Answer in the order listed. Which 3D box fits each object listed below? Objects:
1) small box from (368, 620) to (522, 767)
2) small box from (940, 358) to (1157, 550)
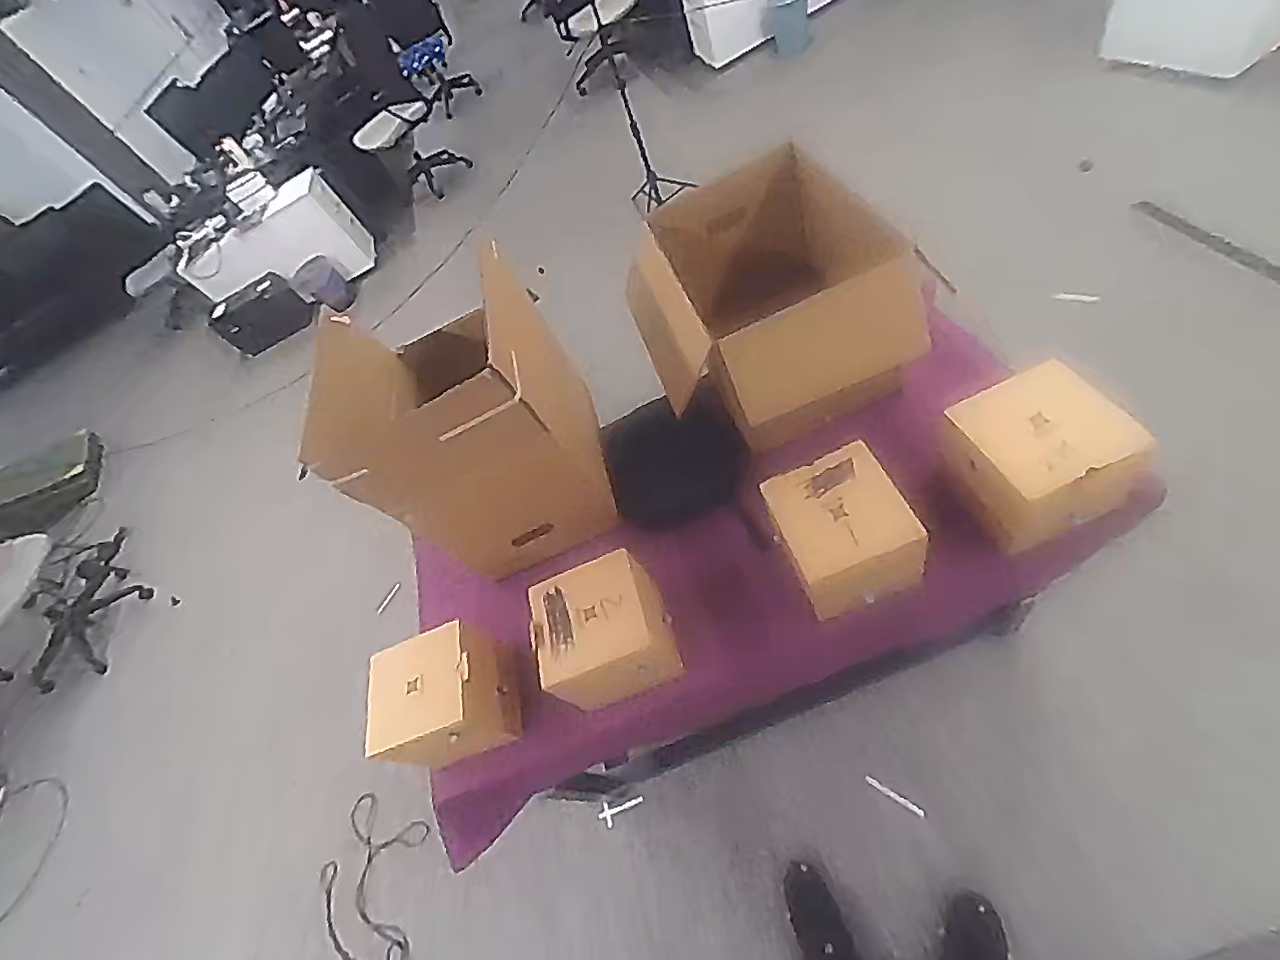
[{"bbox_3d":[-0.323,0.367,0.913,0.179,0.176,0.168,-23,52,7],"label":"small box"},{"bbox_3d":[0.554,-0.031,0.770,0.168,0.176,0.179,-27,52,8],"label":"small box"}]
